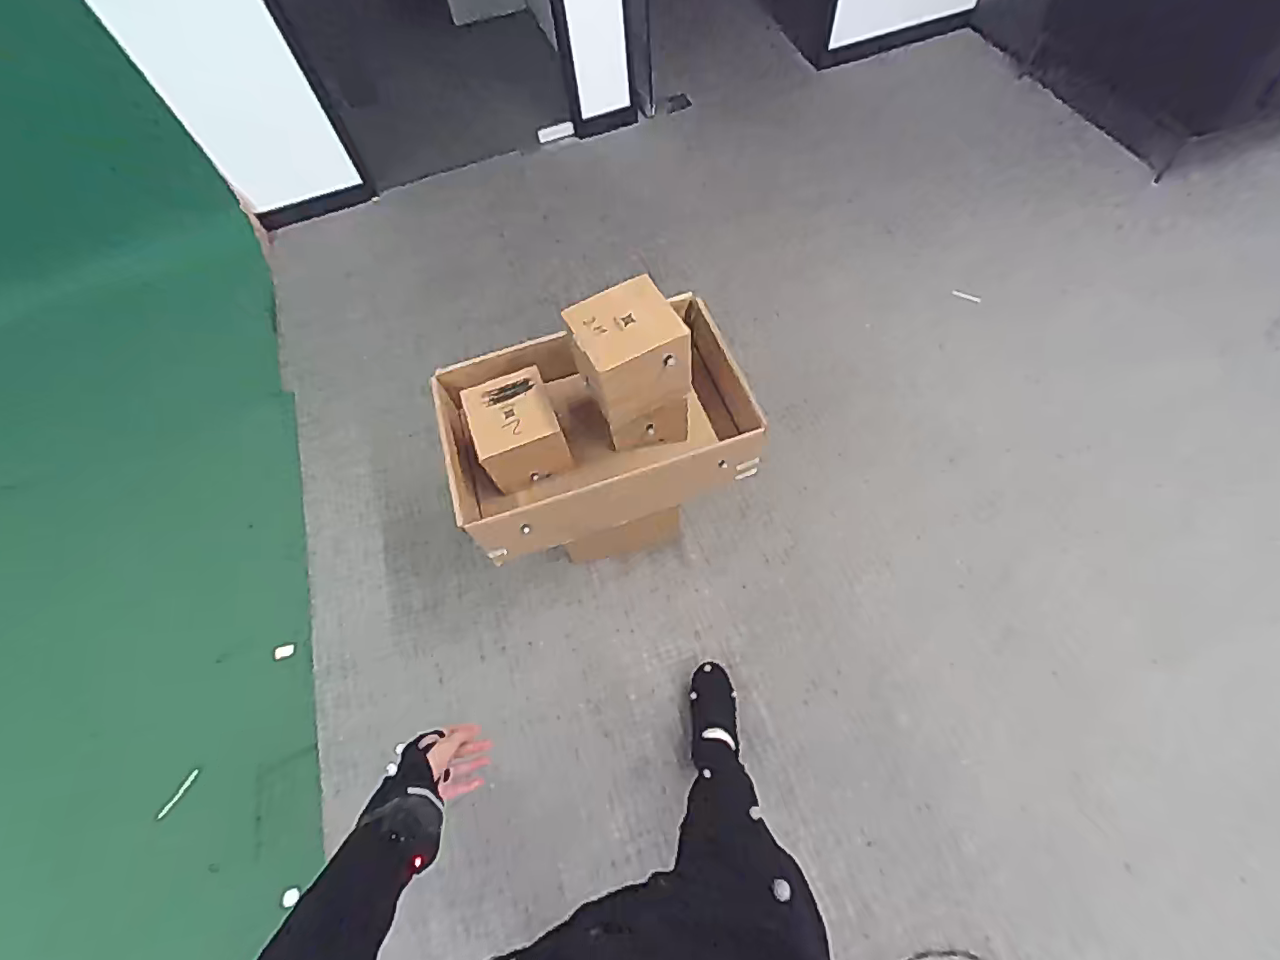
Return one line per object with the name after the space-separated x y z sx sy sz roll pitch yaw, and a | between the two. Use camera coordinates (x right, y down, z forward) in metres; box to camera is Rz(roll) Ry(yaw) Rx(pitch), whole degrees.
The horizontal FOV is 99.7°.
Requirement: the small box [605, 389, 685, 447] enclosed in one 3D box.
0.003 -0.183 1.154 0.168 0.176 0.179 -9 63 0 | small box

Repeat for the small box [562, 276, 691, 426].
-0.021 -0.232 0.995 0.179 0.176 0.168 -26 63 -8 | small box
